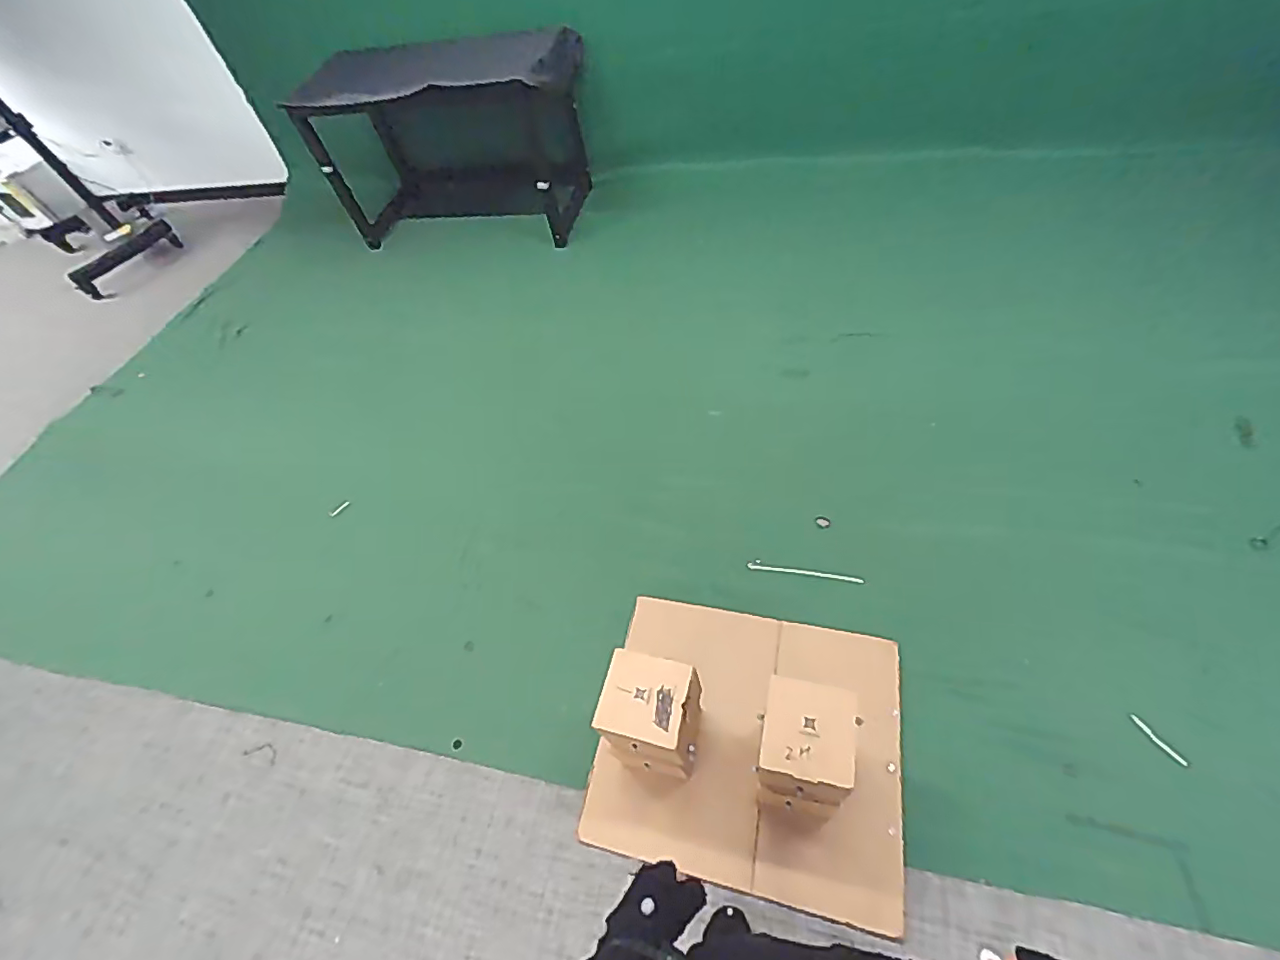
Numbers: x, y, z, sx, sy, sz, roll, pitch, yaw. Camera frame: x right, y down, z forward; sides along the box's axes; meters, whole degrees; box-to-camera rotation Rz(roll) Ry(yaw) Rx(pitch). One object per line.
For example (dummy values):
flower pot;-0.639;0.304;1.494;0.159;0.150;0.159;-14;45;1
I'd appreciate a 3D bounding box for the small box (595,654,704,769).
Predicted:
small box;0.029;0.491;1.137;0.179;0.176;0.168;7;55;19

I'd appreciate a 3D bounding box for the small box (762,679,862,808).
small box;0.332;0.517;1.059;0.168;0.176;0.179;6;55;17

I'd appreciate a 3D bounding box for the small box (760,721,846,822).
small box;0.354;0.626;1.183;0.168;0.176;0.179;5;55;15
